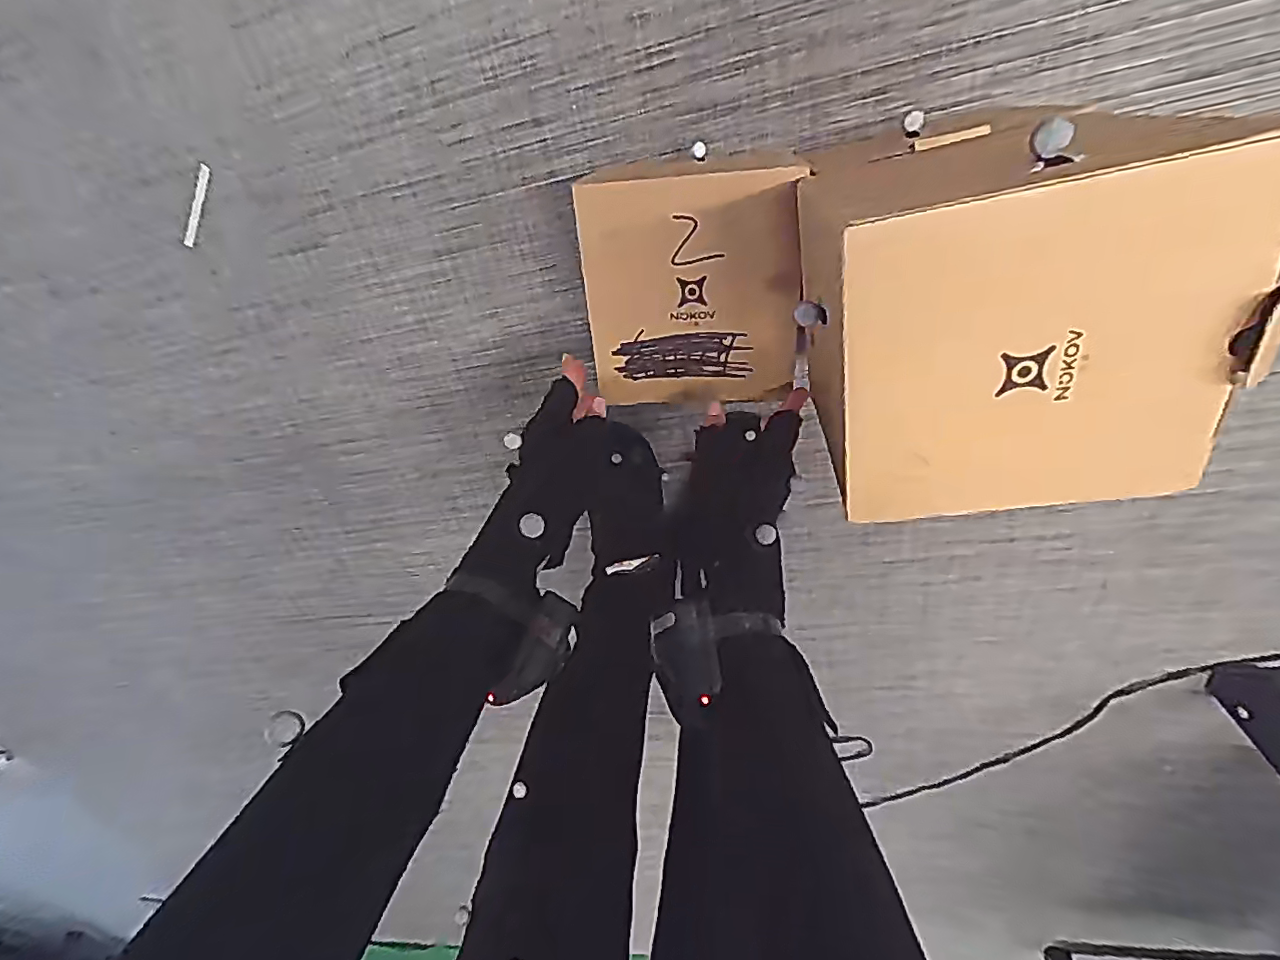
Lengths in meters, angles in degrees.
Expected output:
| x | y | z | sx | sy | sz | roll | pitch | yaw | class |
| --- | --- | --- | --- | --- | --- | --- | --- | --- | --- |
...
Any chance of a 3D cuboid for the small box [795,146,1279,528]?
| x | y | z | sx | sy | sz | roll | pitch | yaw | class |
| --- | --- | --- | --- | --- | --- | --- | --- | --- | --- |
| 0.194 | -0.092 | 0.333 | 0.179 | 0.176 | 0.168 | -7 | 122 | 12 | small box |
